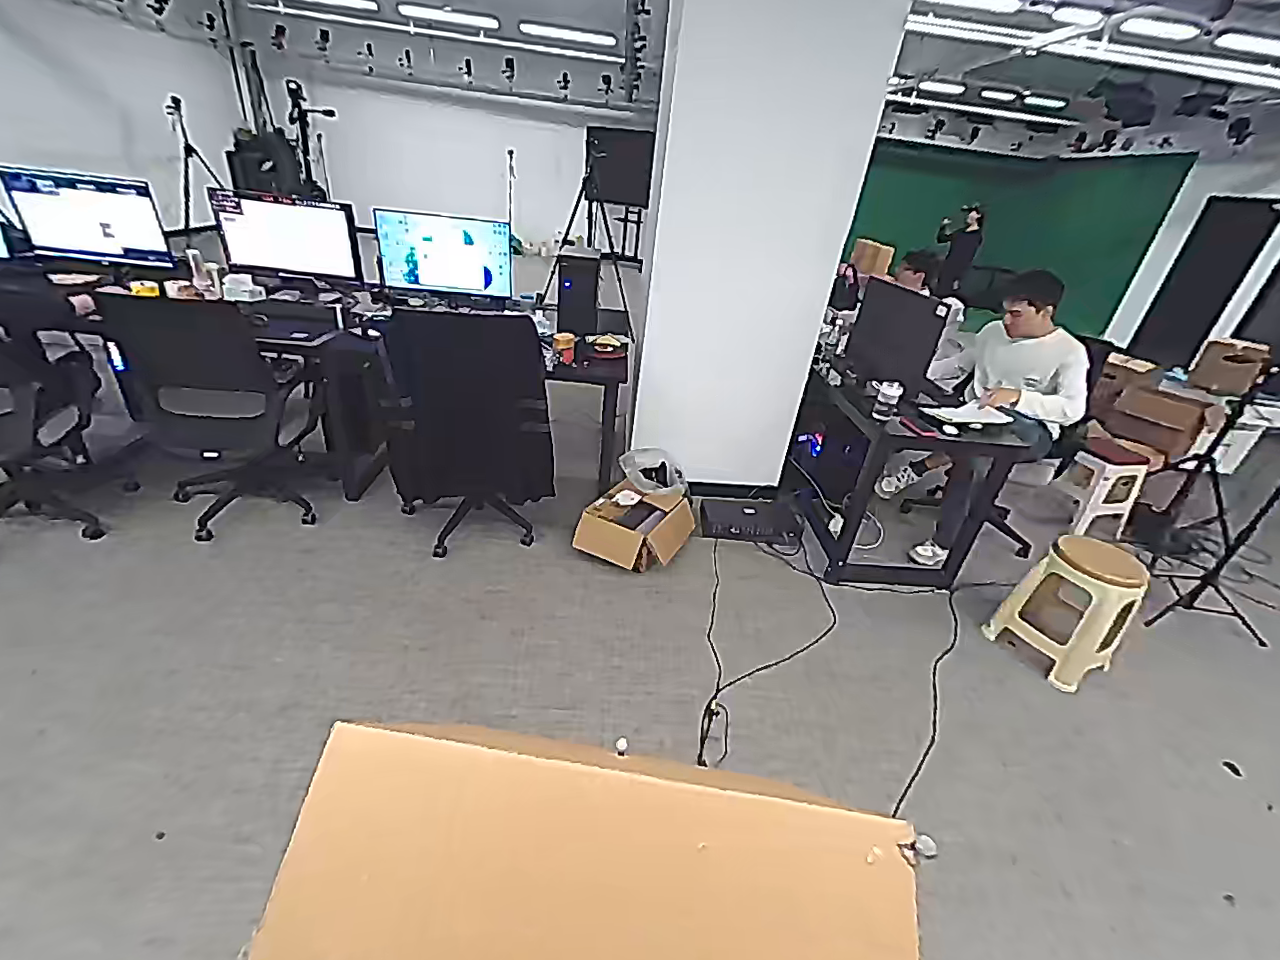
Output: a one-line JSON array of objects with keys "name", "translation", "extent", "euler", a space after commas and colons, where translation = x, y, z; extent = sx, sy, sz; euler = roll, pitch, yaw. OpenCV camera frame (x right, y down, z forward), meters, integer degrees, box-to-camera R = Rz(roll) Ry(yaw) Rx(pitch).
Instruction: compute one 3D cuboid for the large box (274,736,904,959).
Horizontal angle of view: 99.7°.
[{"name": "large box", "translation": [-0.043, 0.410, 0.457], "extent": [0.408, 0.320, 0.320], "euler": [8, 67, 2]}]
